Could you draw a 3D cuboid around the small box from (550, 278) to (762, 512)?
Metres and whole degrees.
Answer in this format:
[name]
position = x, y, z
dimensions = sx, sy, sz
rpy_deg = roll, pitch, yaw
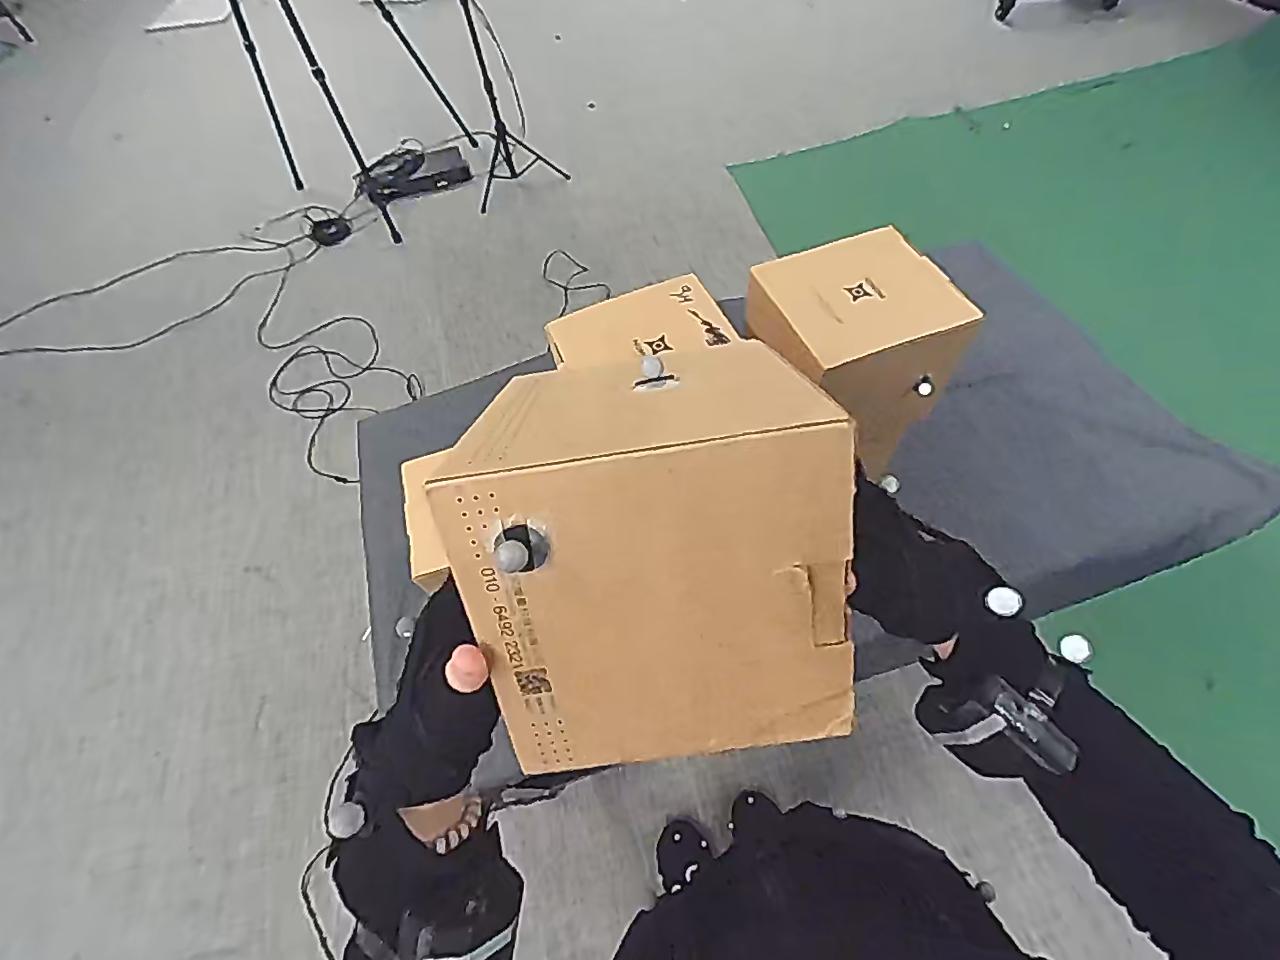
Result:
[small box]
position = 0.019, -0.088, 0.615
dimensions = 0.179, 0.176, 0.168
rpy_deg = -22, 60, -7
